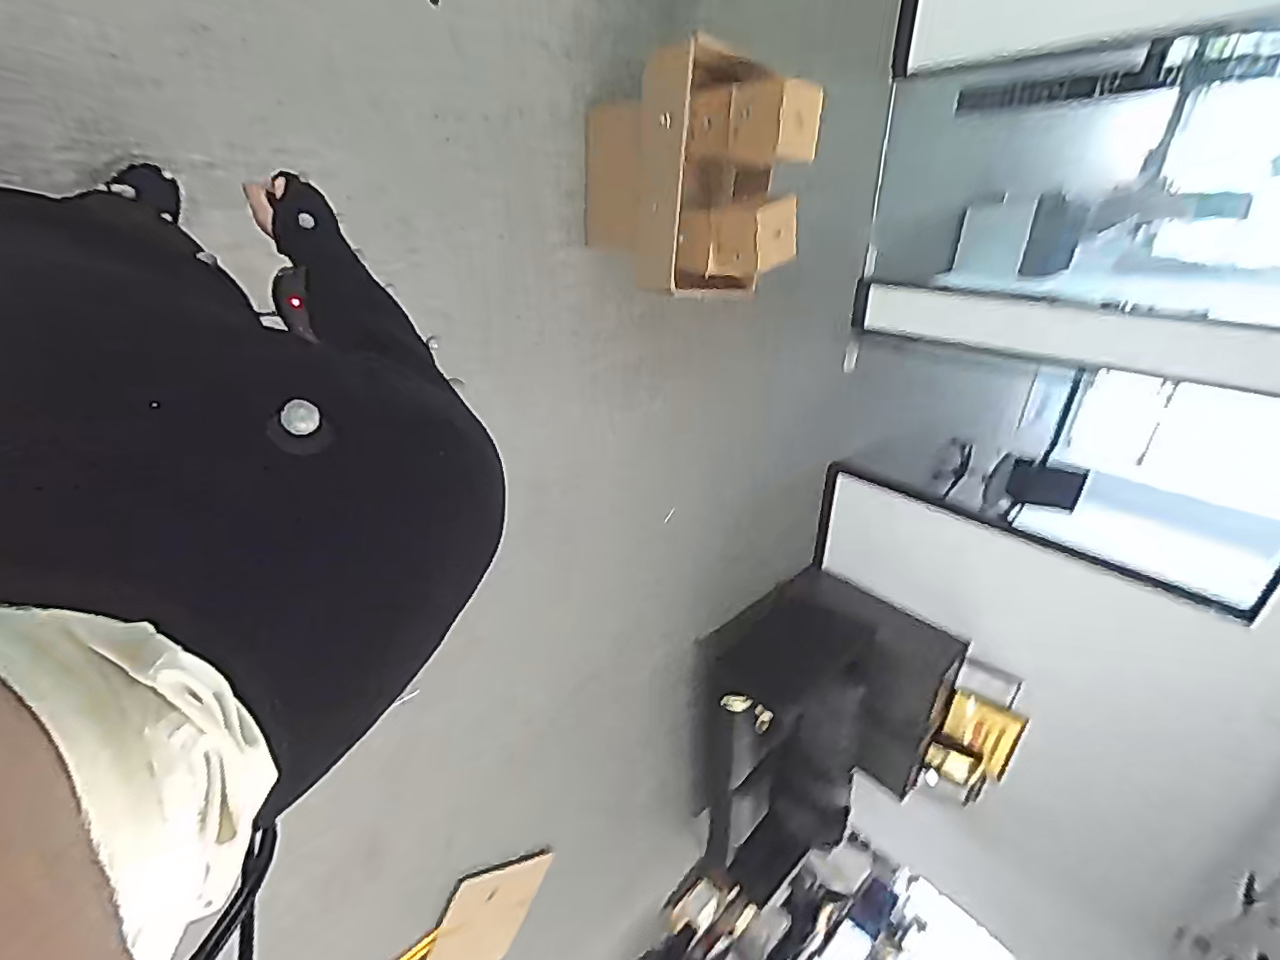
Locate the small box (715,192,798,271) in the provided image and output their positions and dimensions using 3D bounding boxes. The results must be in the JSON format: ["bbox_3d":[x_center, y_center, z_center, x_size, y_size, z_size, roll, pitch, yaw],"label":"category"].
[{"bbox_3d":[0.326,-0.706,1.531,0.179,0.176,0.168,-34,132,-29],"label":"small box"}]

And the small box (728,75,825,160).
[{"bbox_3d":[0.360,-0.955,1.440,0.179,0.176,0.168,-21,124,-38],"label":"small box"}]
